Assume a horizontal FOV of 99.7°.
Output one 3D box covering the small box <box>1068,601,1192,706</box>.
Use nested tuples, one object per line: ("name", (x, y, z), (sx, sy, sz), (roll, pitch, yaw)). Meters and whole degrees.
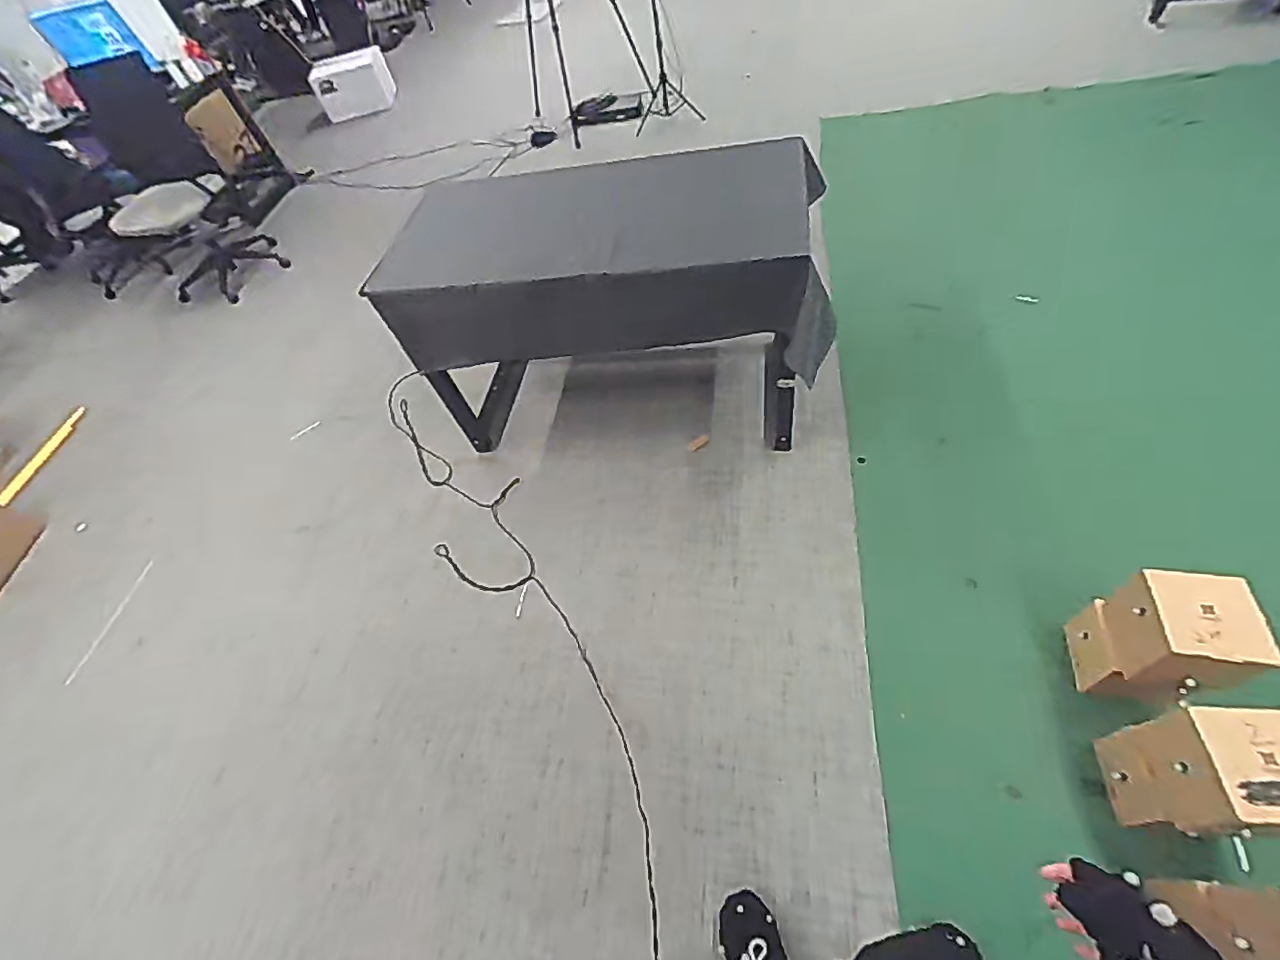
("small box", (1.105, 0.393, 1.218), (0.179, 0.176, 0.168), (5, 55, 16))

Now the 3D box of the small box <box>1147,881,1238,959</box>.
("small box", (1.029, 0.810, 0.921), (0.168, 0.176, 0.179), (4, 54, 15))

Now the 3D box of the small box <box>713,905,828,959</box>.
("small box", (0.240, 0.946, 1.024), (0.179, 0.176, 0.168), (1, 64, 35))

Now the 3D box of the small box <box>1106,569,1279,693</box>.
("small box", (1.084, 0.303, 1.081), (0.168, 0.176, 0.179), (4, 54, 16))

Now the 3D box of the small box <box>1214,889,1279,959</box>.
("small box", (1.023, 0.714, 0.787), (0.179, 0.176, 0.168), (2, 55, 14))
